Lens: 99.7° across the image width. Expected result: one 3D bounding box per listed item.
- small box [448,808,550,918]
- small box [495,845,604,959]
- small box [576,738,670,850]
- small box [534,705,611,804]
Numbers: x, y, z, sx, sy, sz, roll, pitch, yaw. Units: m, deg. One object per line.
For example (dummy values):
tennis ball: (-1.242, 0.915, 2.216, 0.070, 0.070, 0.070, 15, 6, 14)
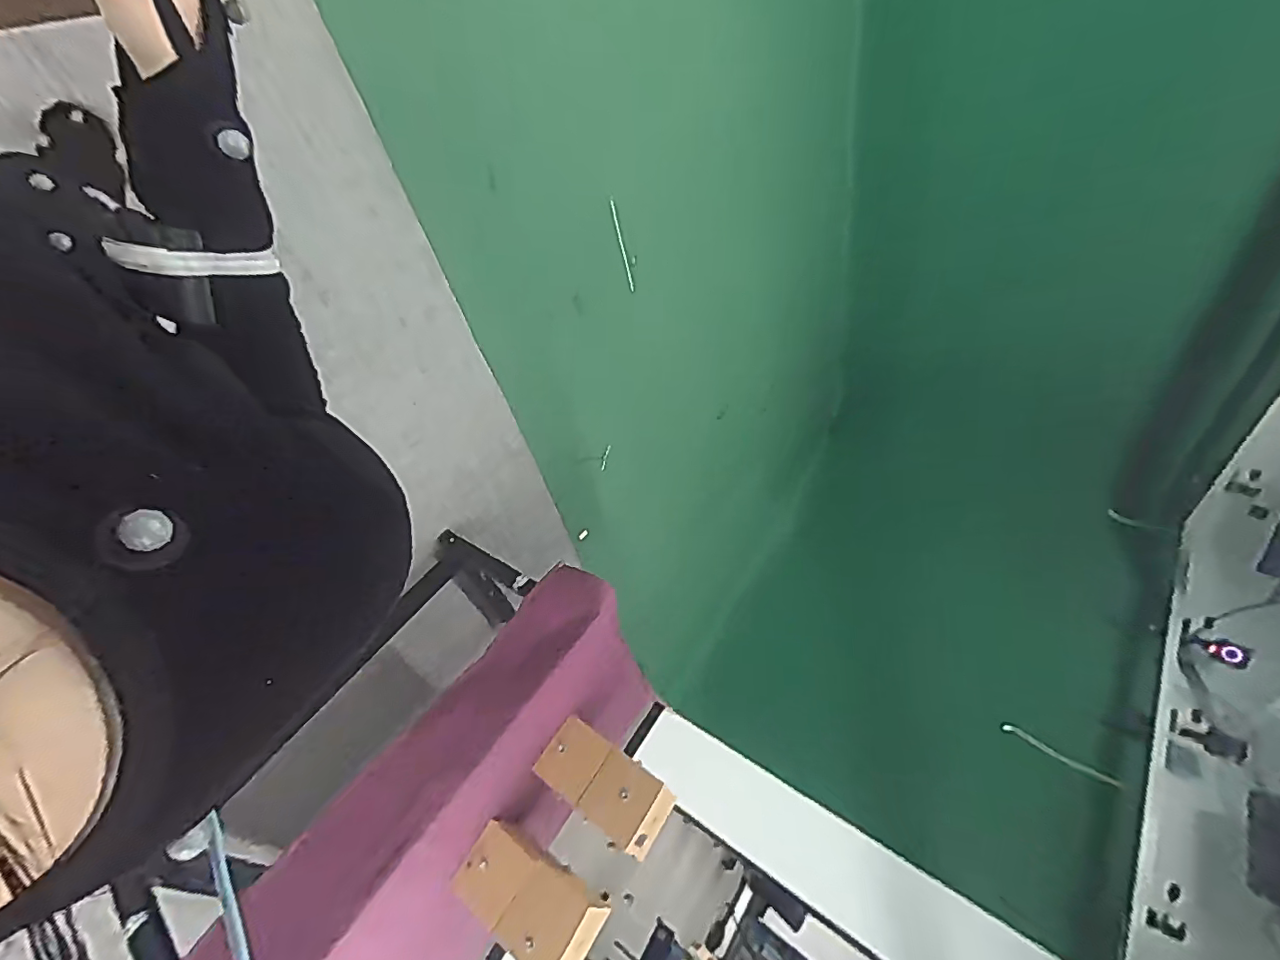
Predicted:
small box: (-0.351, 0.980, 1.391, 0.168, 0.176, 0.179, -54, 144, -22)
small box: (-0.223, 1.027, 1.301, 0.179, 0.176, 0.168, -53, 145, -23)
small box: (-0.049, 0.828, 1.431, 0.179, 0.176, 0.168, -50, 143, -26)
small box: (-0.176, 0.775, 1.521, 0.179, 0.176, 0.168, -49, 143, -26)
